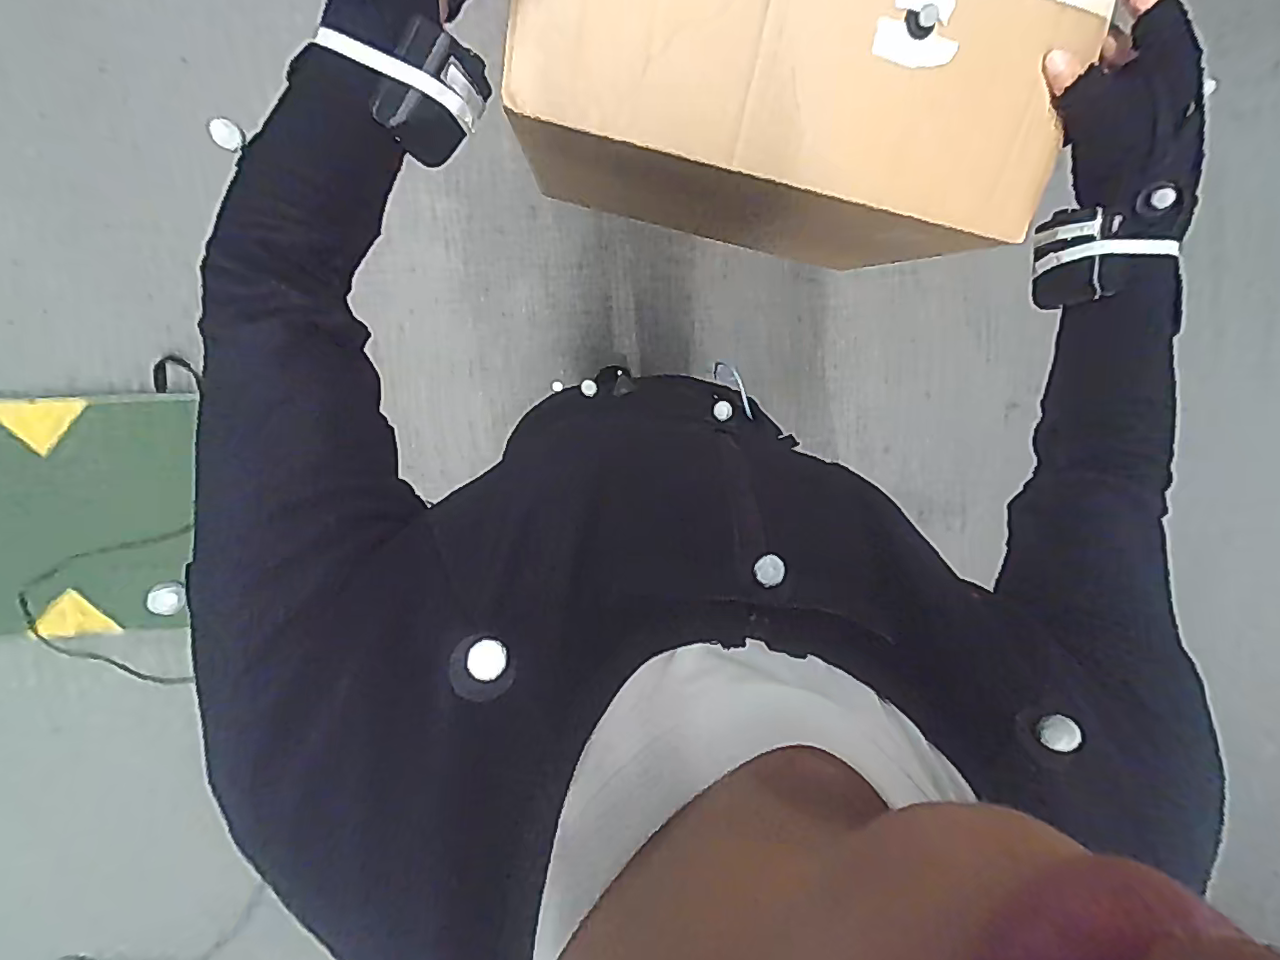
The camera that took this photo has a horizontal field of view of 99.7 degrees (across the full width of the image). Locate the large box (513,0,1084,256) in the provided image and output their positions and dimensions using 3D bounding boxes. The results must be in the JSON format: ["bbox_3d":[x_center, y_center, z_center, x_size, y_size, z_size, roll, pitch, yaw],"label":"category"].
[{"bbox_3d":[0.111,-0.420,0.504,0.408,0.320,0.320,8,107,-9],"label":"large box"}]
